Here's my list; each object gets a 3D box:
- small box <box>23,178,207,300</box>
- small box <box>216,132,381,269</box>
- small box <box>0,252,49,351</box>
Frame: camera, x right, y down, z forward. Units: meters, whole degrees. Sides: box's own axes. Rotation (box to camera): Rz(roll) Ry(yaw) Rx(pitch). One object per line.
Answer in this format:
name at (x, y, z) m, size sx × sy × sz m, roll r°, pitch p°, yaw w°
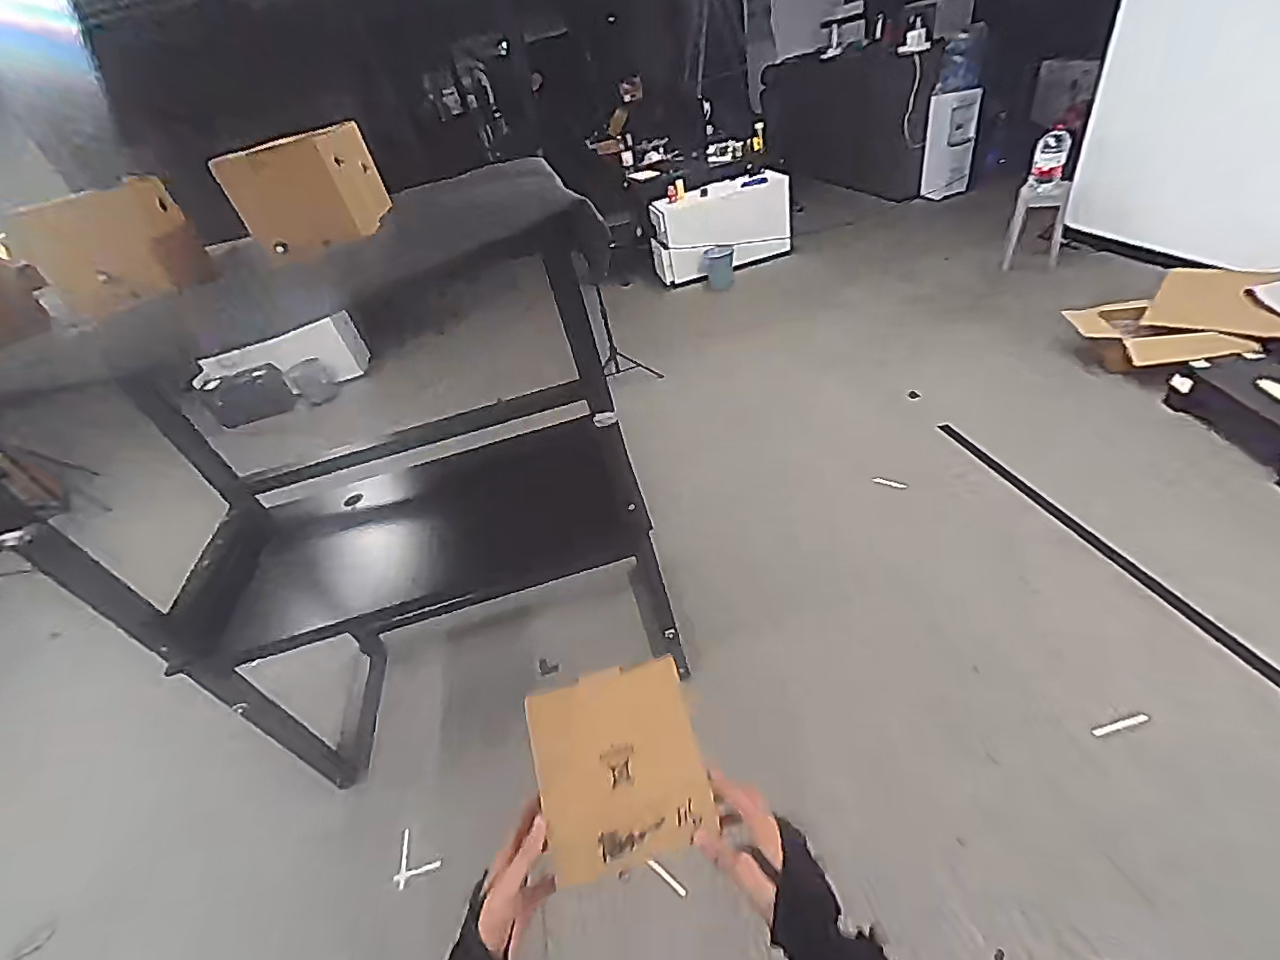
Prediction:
small box at (-1.038, -0.487, 1.092) m, size 0.179 × 0.176 × 0.168 m, roll -18°, pitch 38°, yaw -5°
small box at (-0.581, -0.488, 0.950) m, size 0.168 × 0.176 × 0.179 m, roll -18°, pitch 38°, yaw -4°
small box at (-1.172, -0.298, 0.901) m, size 0.168 × 0.176 × 0.179 m, roll -18°, pitch 38°, yaw -6°
